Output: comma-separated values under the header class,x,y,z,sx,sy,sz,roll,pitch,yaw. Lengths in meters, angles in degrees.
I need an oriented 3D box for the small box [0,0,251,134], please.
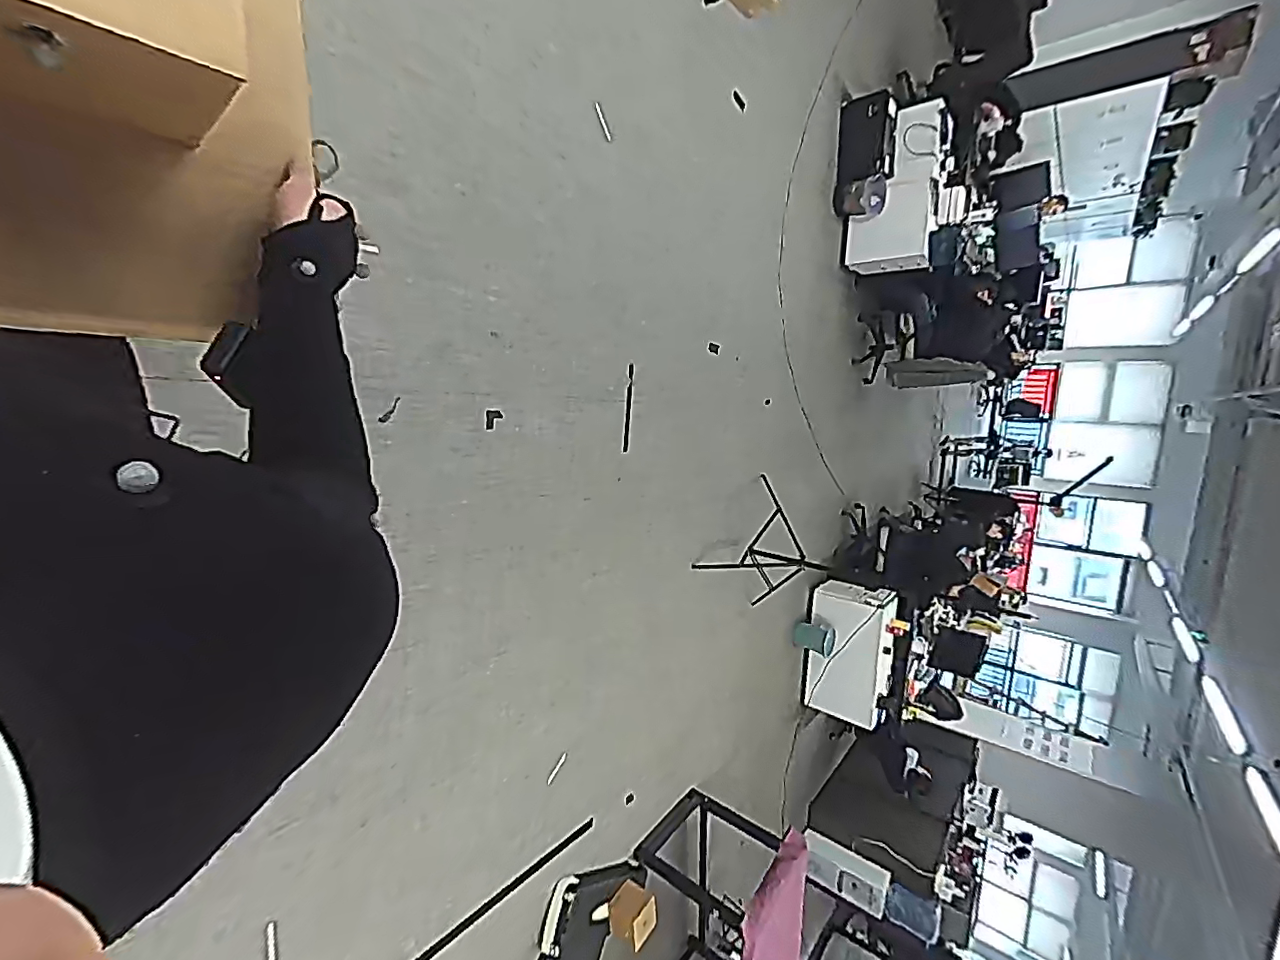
class,x,y,z,sx,sy,sz,roll,pitch,yaw
small box,-0.388,-0.359,0.357,0.179,0.176,0.168,-9,105,-46
